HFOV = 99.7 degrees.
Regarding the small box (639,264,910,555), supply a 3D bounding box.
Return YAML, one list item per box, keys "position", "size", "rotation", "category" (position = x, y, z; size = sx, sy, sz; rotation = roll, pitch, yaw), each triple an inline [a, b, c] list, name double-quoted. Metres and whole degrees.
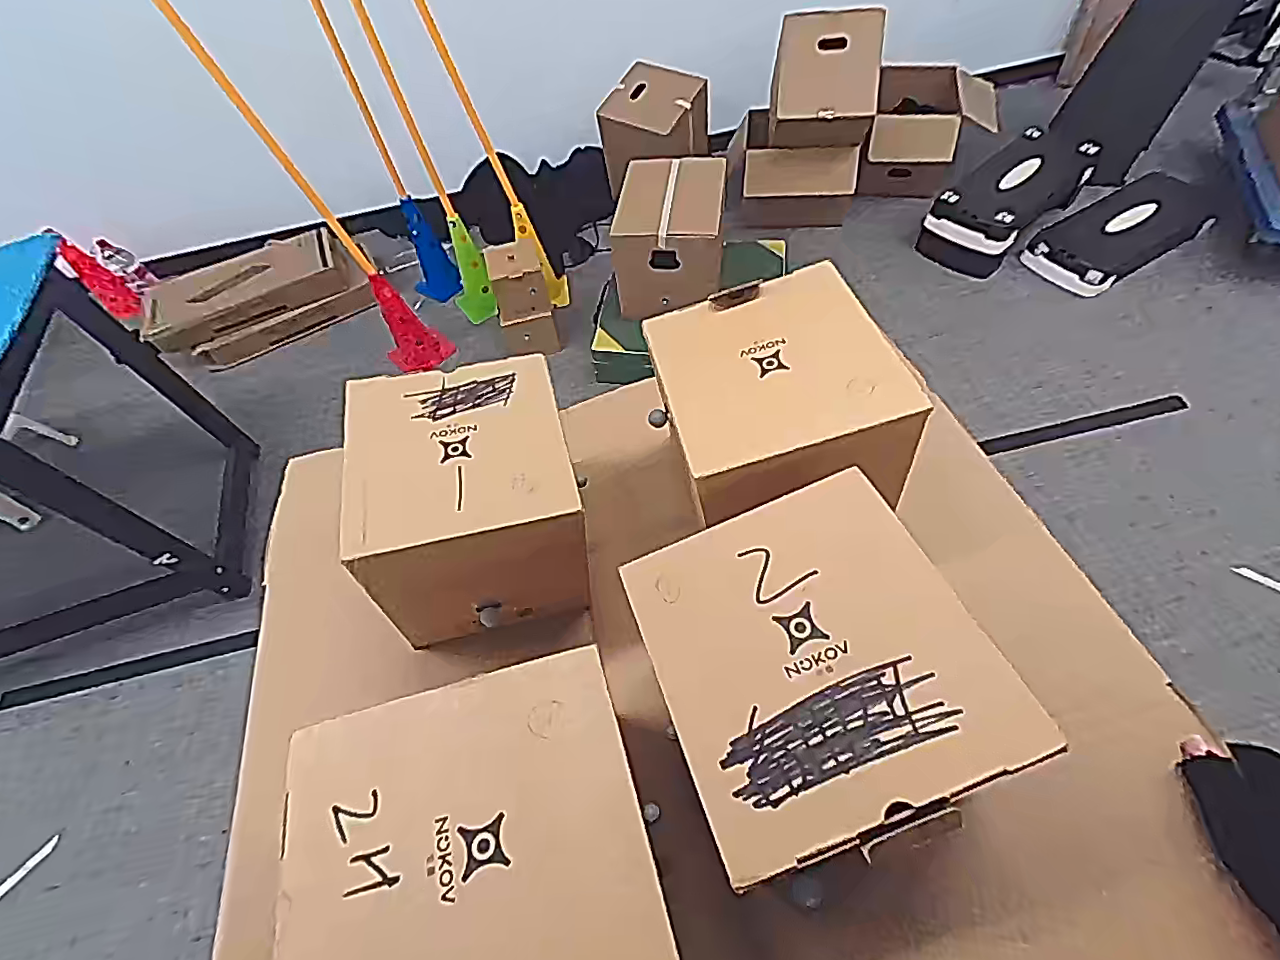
- position: [0.110, -0.050, 0.483]
  size: [0.168, 0.176, 0.179]
  rotation: [-17, 53, 4]
  category: "small box"
